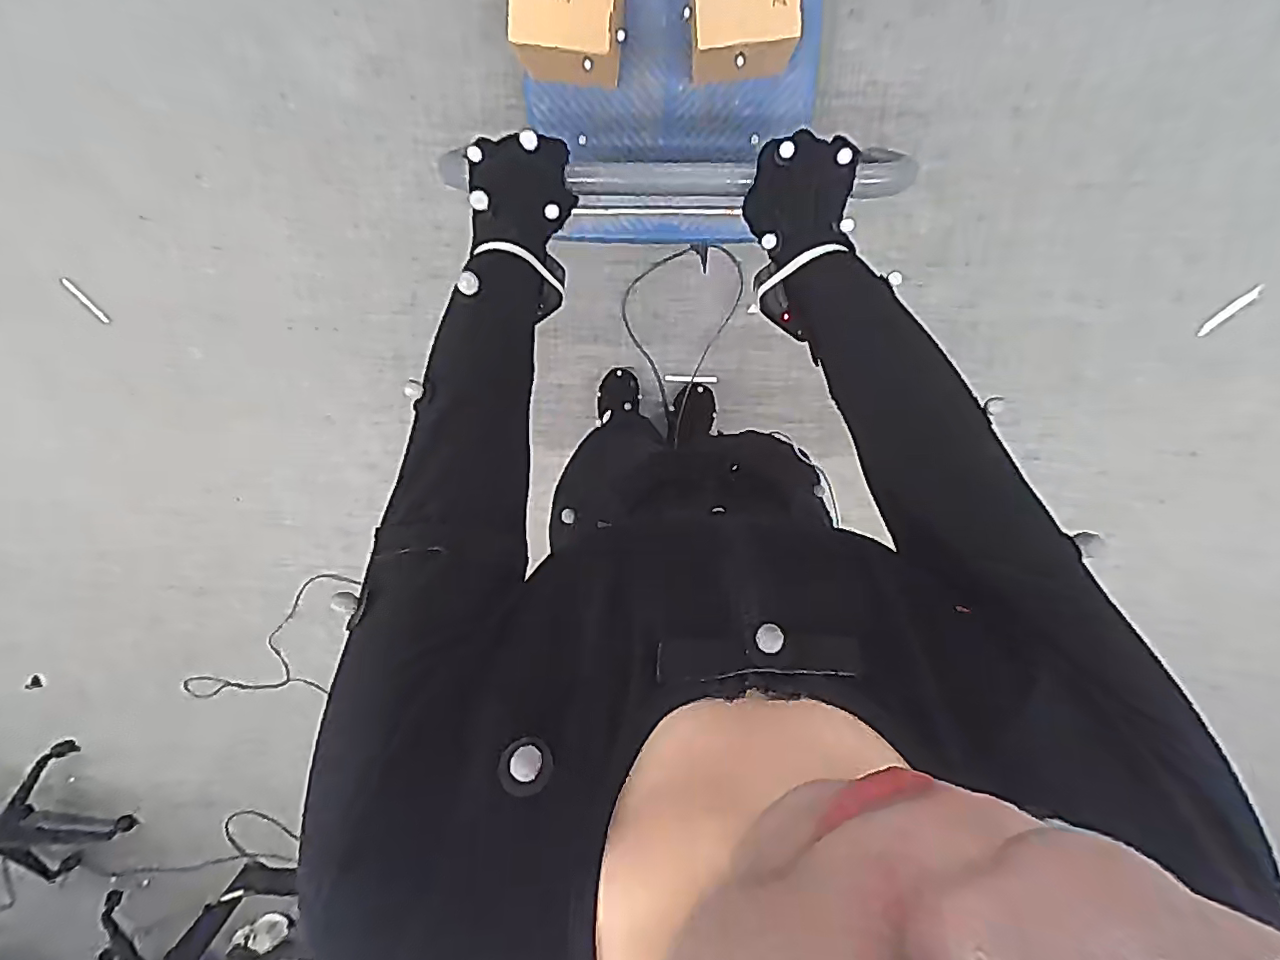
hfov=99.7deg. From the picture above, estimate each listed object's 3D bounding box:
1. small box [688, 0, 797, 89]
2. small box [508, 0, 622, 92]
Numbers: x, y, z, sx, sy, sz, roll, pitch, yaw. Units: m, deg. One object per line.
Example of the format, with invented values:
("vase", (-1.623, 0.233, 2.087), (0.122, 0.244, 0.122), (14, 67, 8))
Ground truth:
("small box", (0.176, -0.832, 0.969), (0.179, 0.176, 0.168), (-4, 108, 4))
("small box", (-0.131, -0.836, 0.983), (0.179, 0.176, 0.168), (6, 108, -1))
